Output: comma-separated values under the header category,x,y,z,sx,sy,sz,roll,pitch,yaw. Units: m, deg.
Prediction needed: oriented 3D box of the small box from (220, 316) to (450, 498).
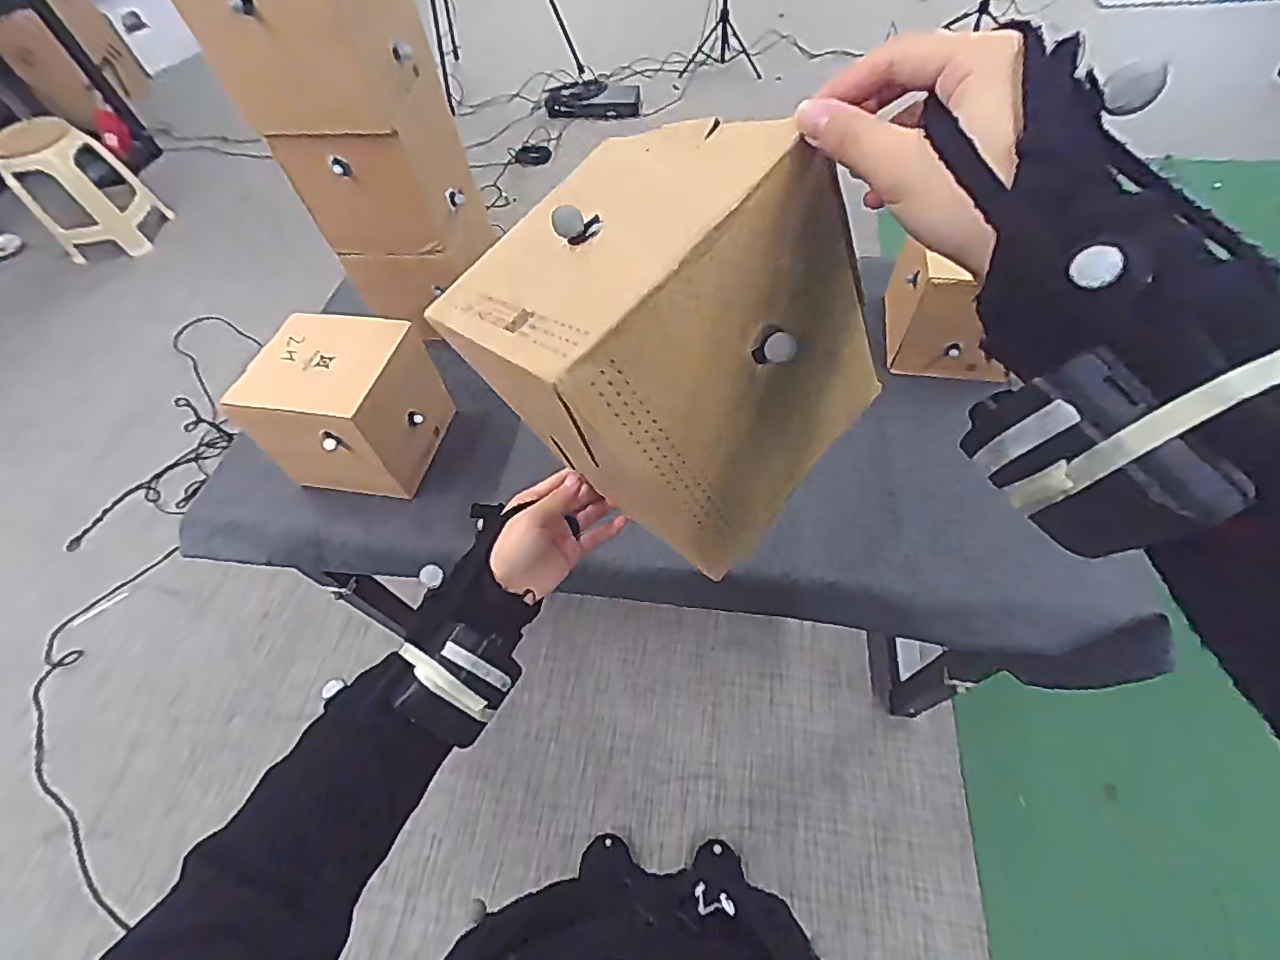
category,x,y,z,sx,sy,sz,roll,pitch,yaw
small box,-0.381,-0.092,0.718,0.179,0.176,0.168,7,55,9

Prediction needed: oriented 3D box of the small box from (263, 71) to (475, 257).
category,x,y,z,sx,sy,sz,roll,pitch,yaw
small box,-0.352,-0.427,0.743,0.179,0.176,0.168,2,60,5

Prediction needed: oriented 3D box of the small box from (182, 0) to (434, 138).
category,x,y,z,sx,sy,sz,roll,pitch,yaw
small box,-0.361,-0.506,0.598,0.179,0.176,0.168,4,60,6

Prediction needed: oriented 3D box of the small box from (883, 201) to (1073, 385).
category,x,y,z,sx,sy,sz,roll,pitch,yaw
small box,0.452,-0.260,0.758,0.168,0.176,0.179,7,60,10

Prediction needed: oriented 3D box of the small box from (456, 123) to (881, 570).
category,x,y,z,sx,sy,sz,roll,pitch,yaw
small box,0.013,-0.075,0.333,0.176,0.179,0.168,-47,43,-8
